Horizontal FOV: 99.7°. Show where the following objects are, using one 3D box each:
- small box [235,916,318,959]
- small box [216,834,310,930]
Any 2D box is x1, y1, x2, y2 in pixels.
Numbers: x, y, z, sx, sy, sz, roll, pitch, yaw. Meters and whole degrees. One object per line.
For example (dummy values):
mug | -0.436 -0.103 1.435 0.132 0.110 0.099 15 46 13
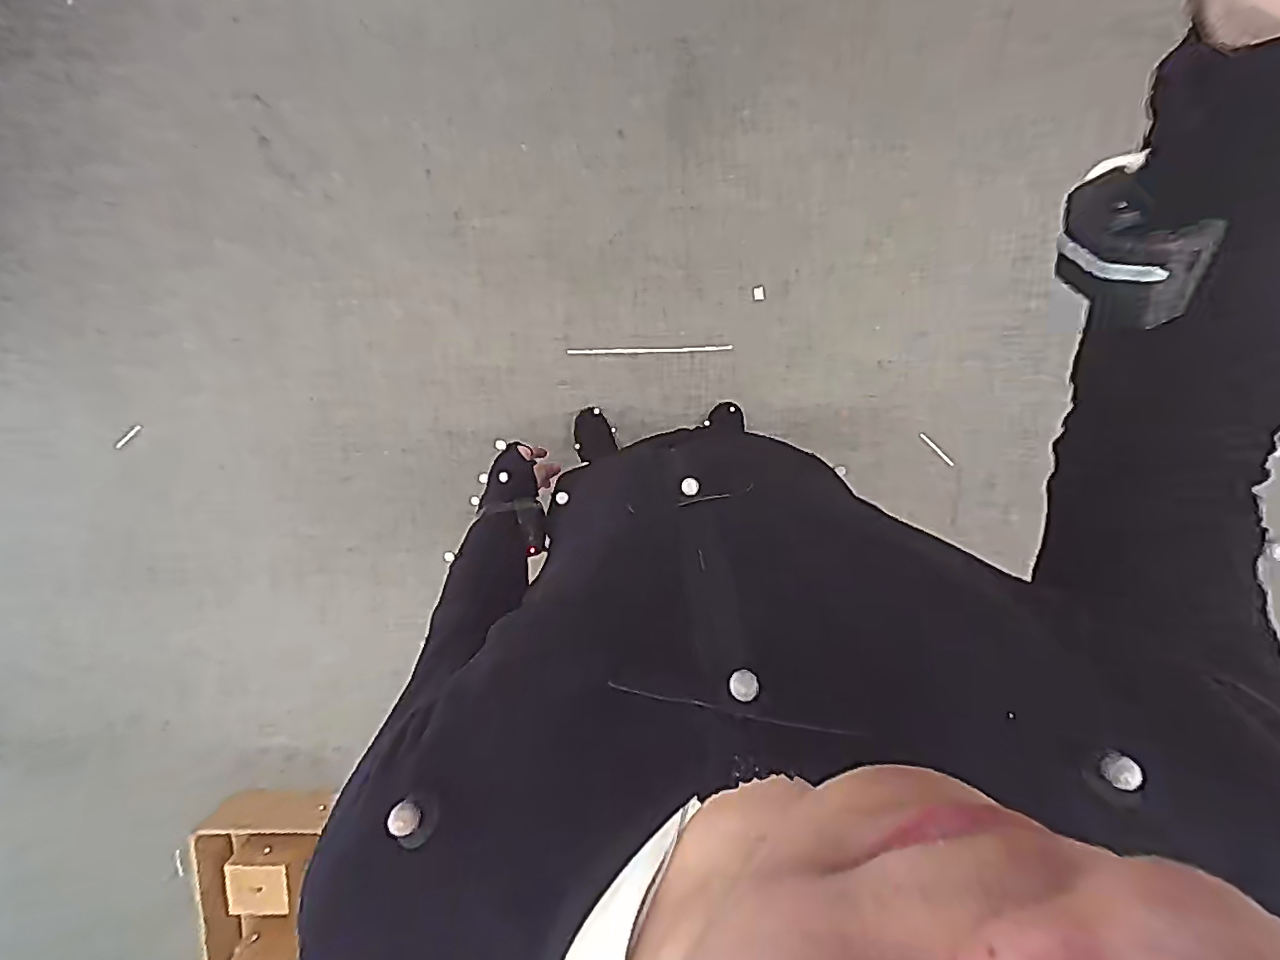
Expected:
small box | -1.114 1.478 1.653 0.179 0.176 0.168 0 97 0
small box | -1.114 1.195 1.616 0.179 0.176 0.168 2 97 -1
